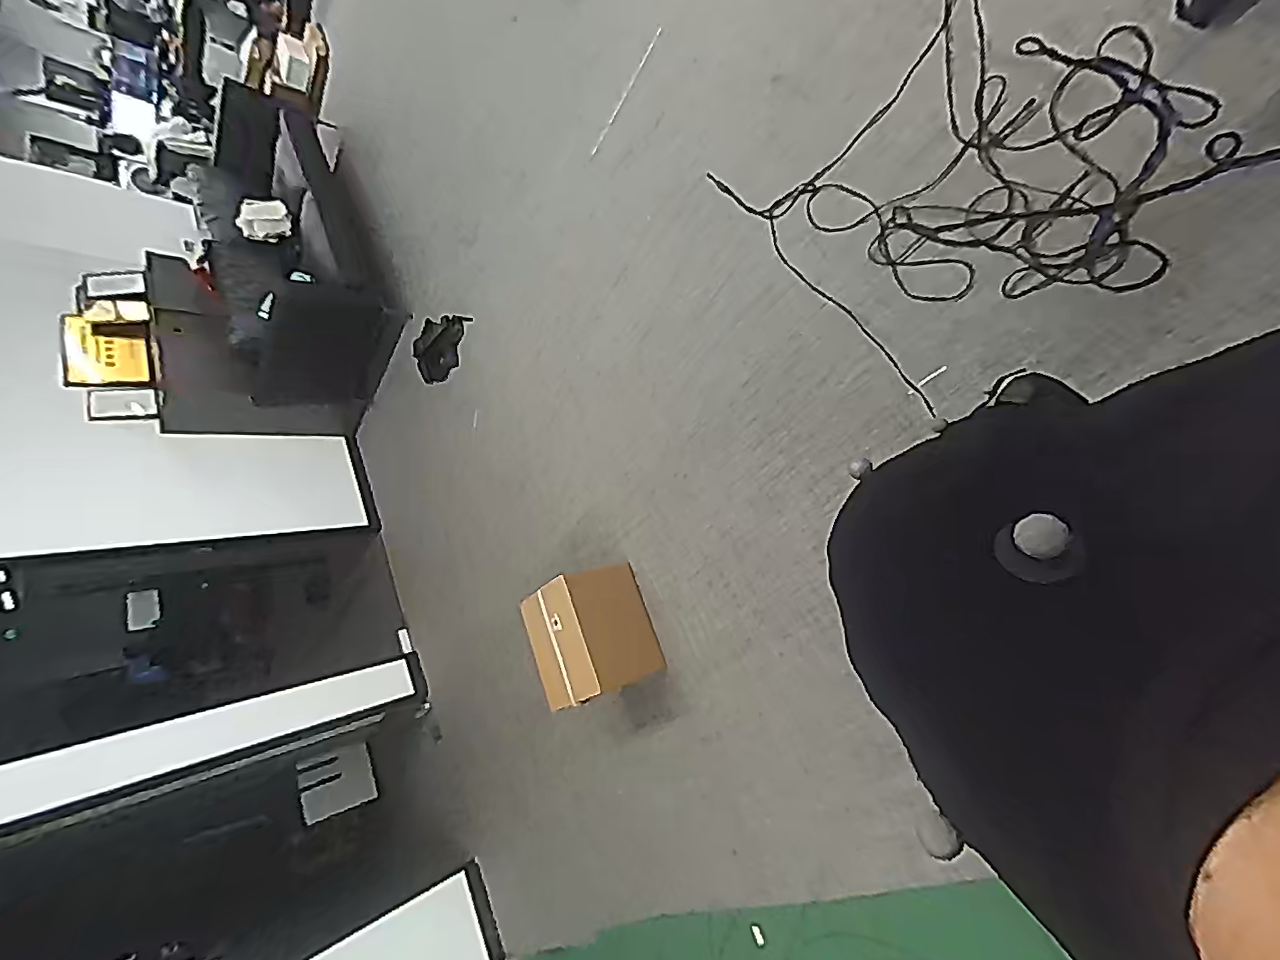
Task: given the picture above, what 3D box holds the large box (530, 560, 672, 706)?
[{"bbox_3d":[-0.145,0.544,1.955,0.320,0.320,0.408,-37,65,40],"label":"large box"}]
